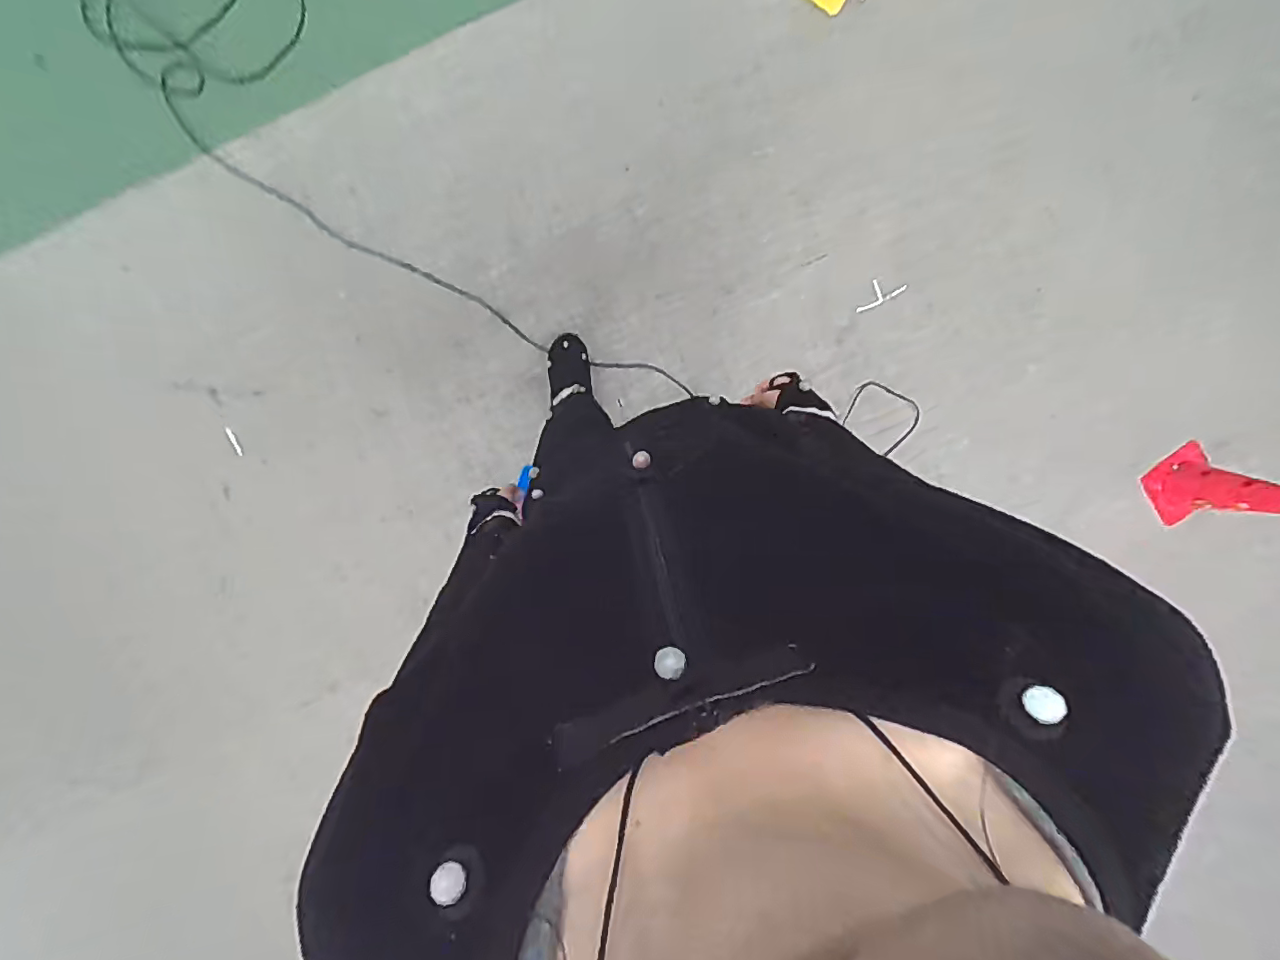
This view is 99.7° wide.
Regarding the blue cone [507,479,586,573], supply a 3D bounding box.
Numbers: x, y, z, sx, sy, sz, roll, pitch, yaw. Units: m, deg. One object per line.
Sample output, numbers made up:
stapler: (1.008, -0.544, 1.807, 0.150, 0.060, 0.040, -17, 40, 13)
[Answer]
blue cone: (-0.240, 0.140, 1.307, 0.192, 0.380, 0.193, 19, 100, -8)
